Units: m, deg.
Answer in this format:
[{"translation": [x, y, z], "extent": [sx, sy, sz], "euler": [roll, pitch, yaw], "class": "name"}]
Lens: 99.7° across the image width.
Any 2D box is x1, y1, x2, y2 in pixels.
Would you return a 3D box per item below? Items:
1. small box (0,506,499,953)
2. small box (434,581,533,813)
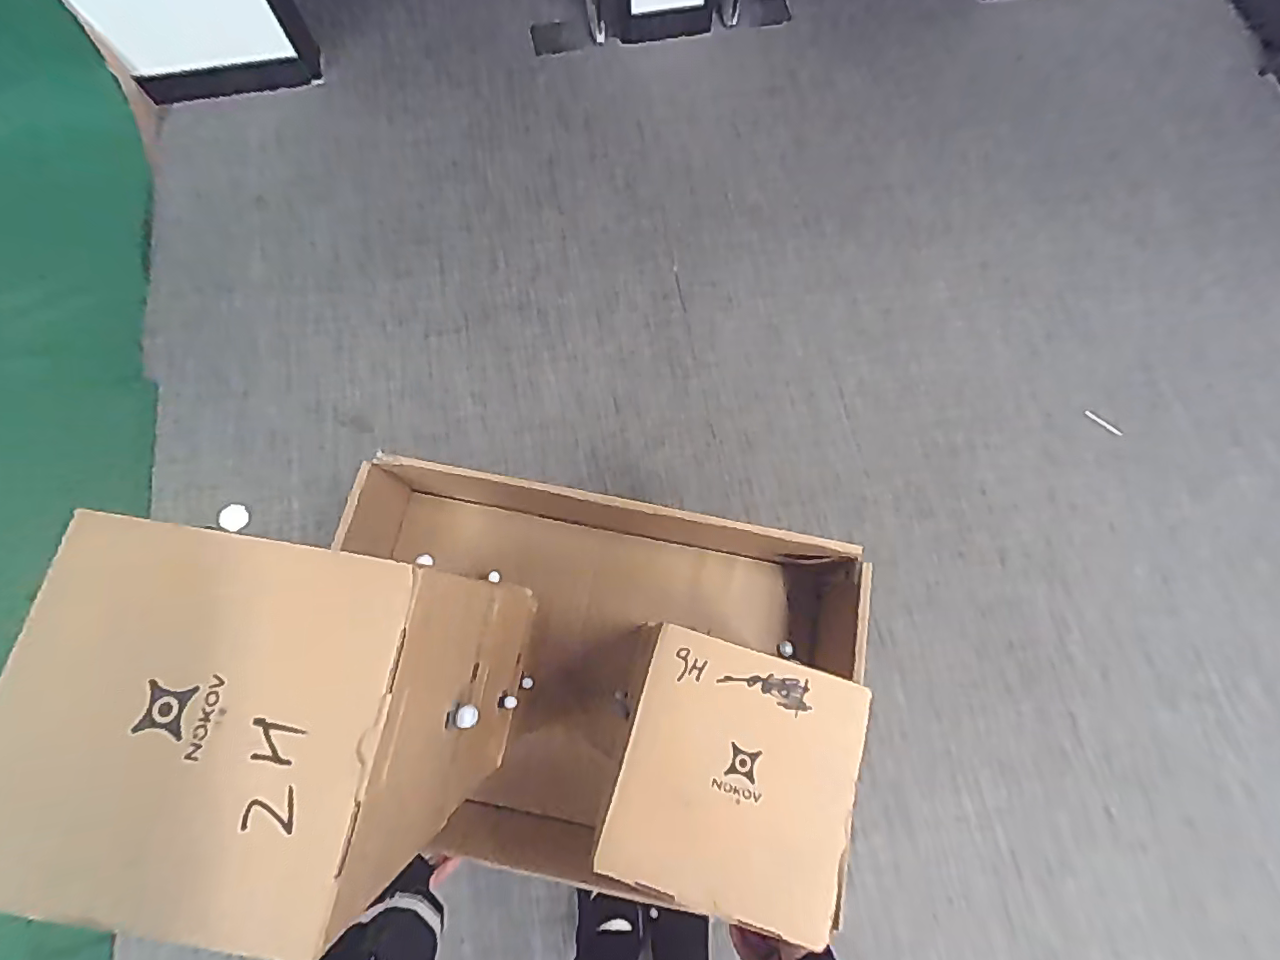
[{"translation": [-0.202, 0.125, 0.323], "extent": [0.179, 0.176, 0.168], "euler": [10, 75, 0], "class": "small box"}, {"translation": [-0.208, 0.166, 0.483], "extent": [0.179, 0.176, 0.168], "euler": [11, 75, 1], "class": "small box"}]
